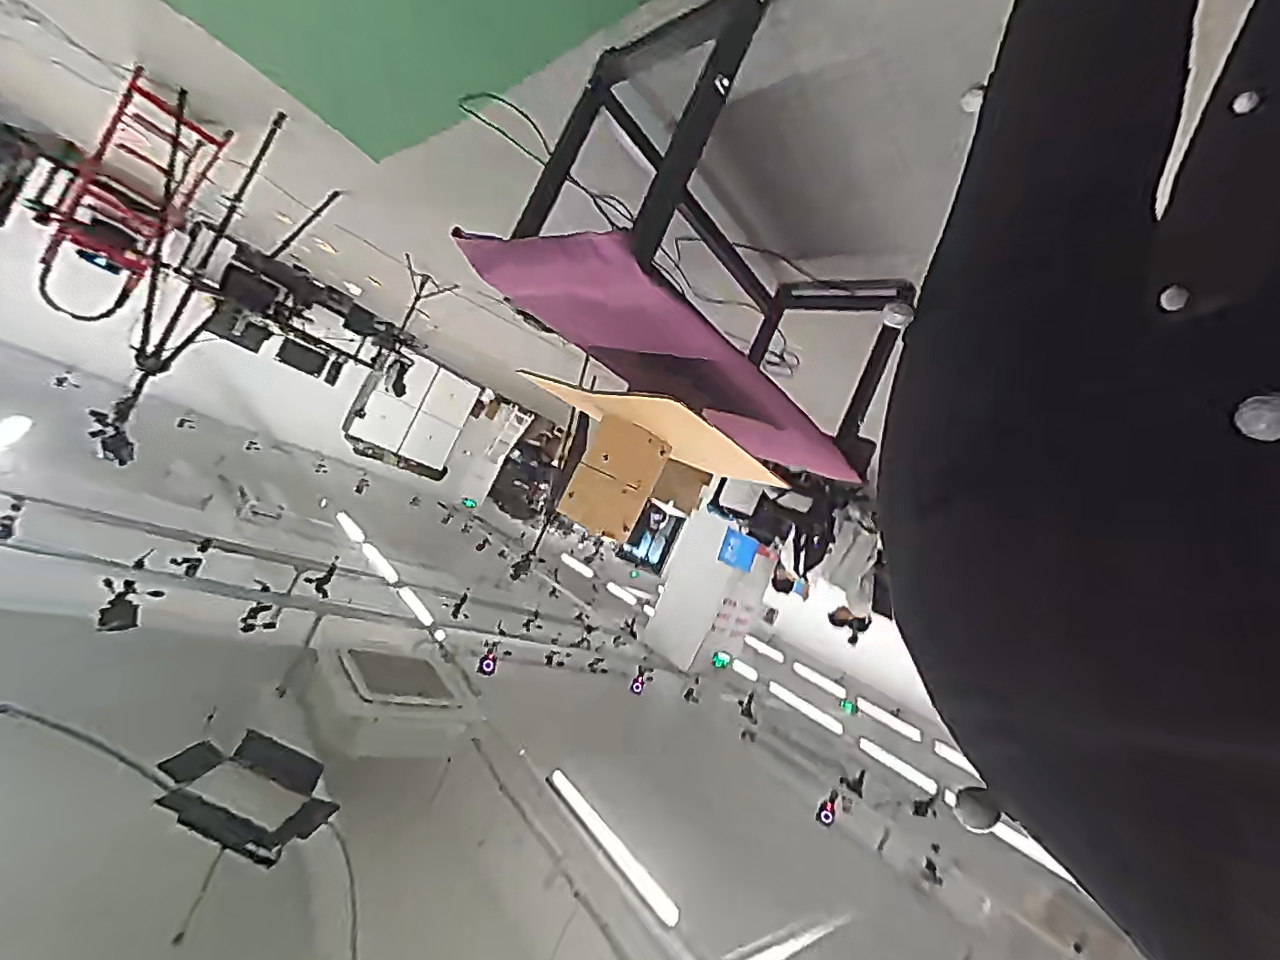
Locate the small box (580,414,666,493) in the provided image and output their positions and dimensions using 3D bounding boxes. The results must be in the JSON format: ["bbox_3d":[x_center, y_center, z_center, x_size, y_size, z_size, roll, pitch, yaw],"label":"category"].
[{"bbox_3d":[-0.043,-0.084,1.644,0.179,0.176,0.168,25,177,44],"label":"small box"}]
